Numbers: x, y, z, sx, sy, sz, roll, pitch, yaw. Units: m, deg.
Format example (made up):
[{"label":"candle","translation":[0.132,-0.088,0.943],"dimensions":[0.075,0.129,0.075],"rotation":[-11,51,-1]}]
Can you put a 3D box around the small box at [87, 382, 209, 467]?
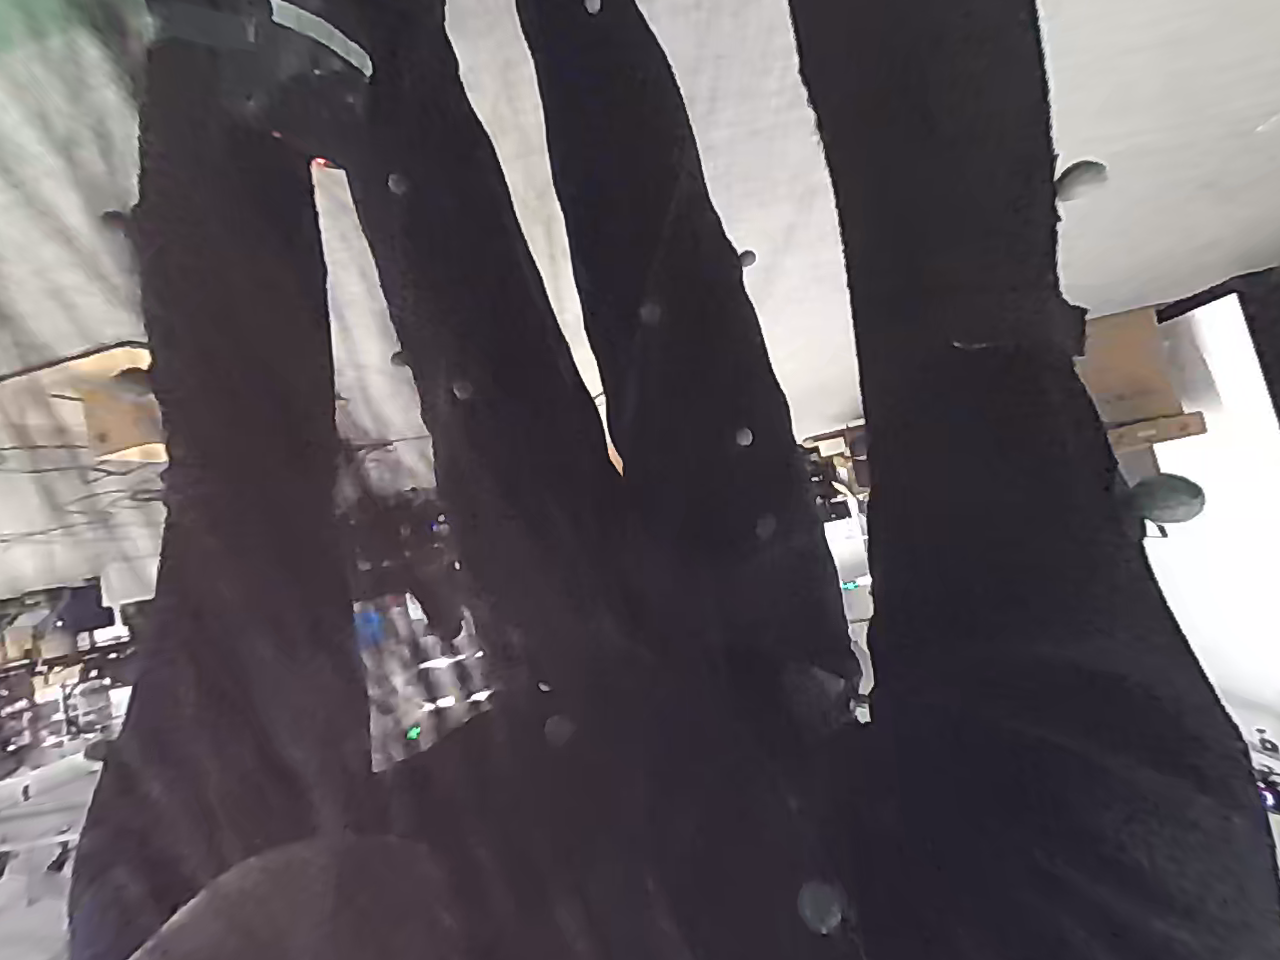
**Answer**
[{"label":"small box","translation":[-1.274,-0.139,1.402],"dimensions":[0.179,0.176,0.168],"rotation":[-13,176,8]}]
